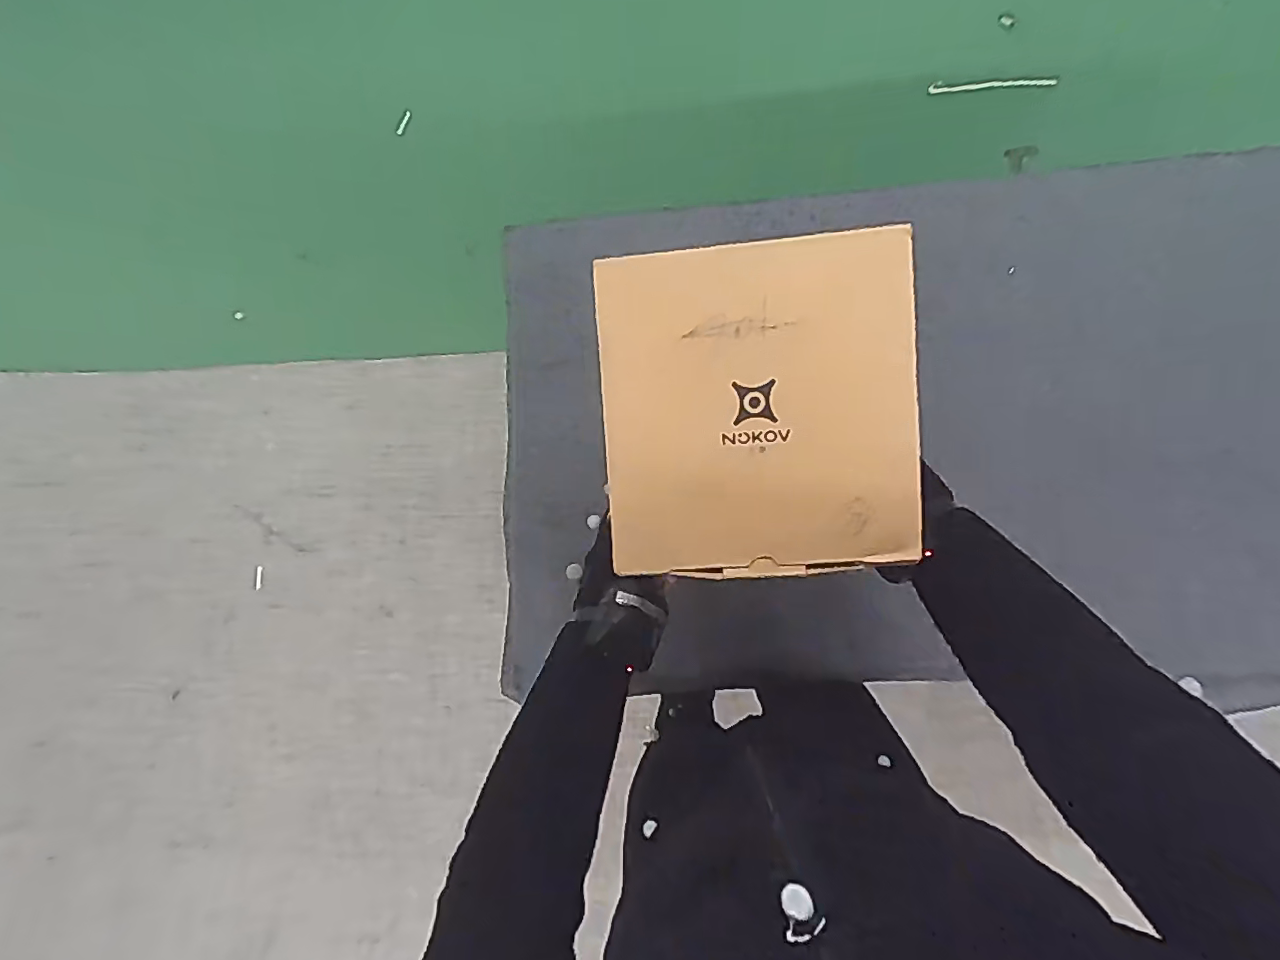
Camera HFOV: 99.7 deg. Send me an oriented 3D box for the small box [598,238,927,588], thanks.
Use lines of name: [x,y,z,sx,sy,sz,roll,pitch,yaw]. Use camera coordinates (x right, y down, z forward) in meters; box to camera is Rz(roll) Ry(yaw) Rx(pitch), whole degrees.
small box: [0.073,-0.036,0.366,0.168,0.176,0.179,-5,92,6]
